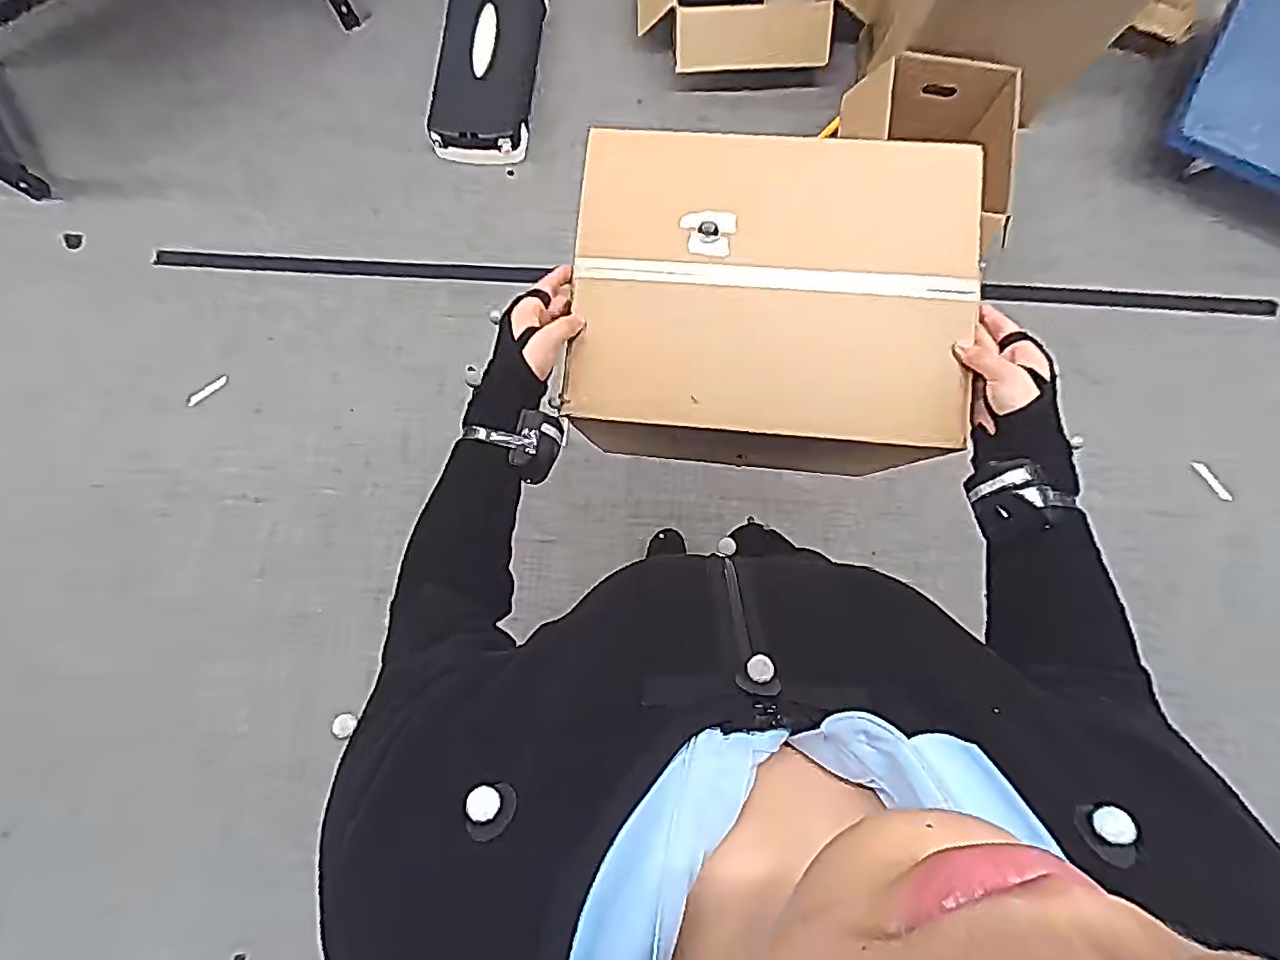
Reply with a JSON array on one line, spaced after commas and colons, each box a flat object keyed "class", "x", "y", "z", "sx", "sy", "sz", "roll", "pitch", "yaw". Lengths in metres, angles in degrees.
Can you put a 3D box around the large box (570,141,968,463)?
[{"class": "large box", "x": 0.146, "y": -0.196, "z": 0.712, "sx": 0.408, "sy": 0.320, "sz": 0.320, "roll": 4, "pitch": 85, "yaw": 5}]
